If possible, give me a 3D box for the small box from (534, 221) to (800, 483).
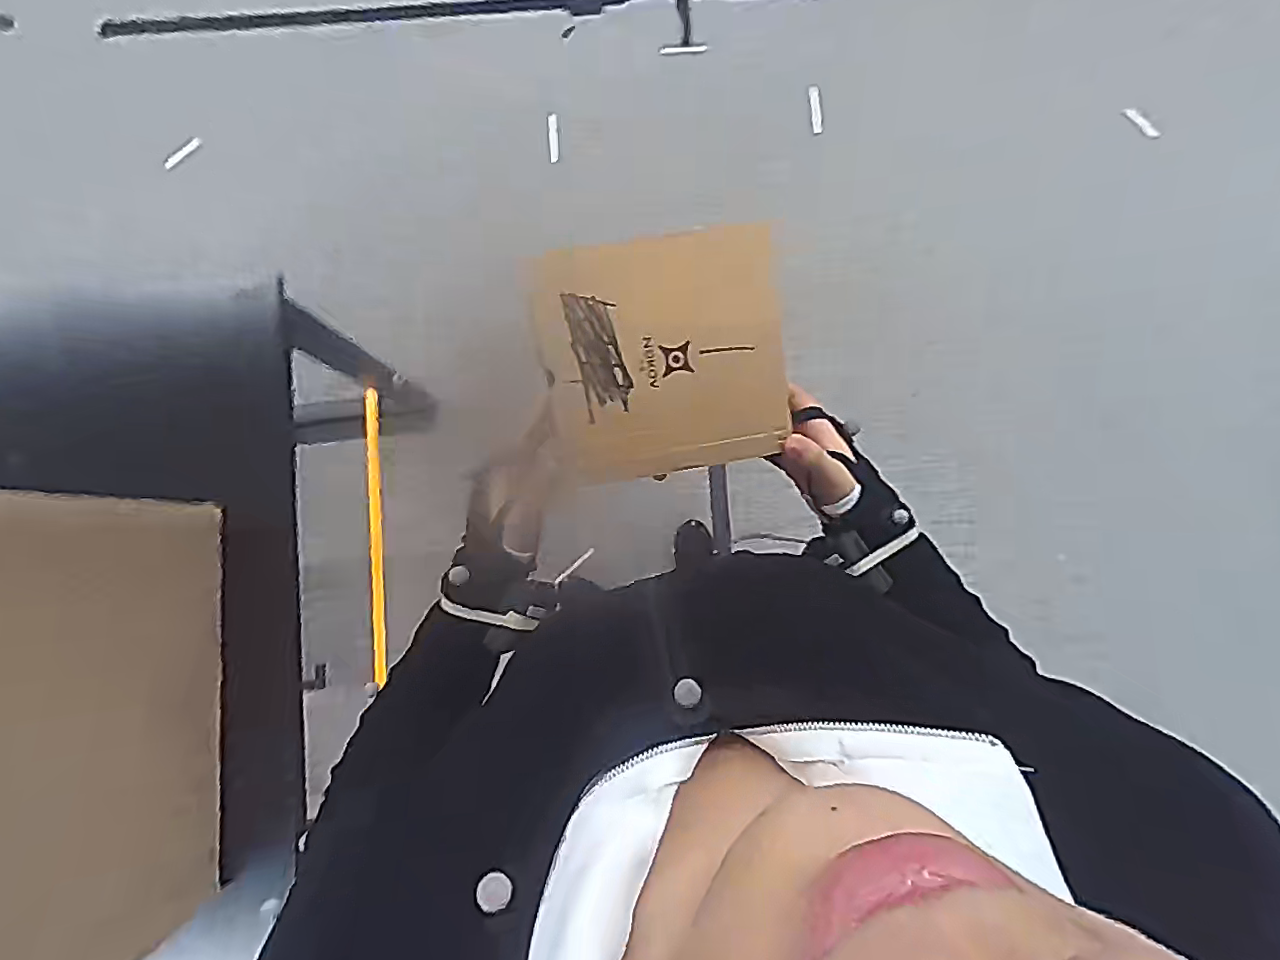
[{"bbox_3d":[0.018,-0.103,0.463,0.179,0.176,0.168,-9,103,-3],"label":"small box"}]
